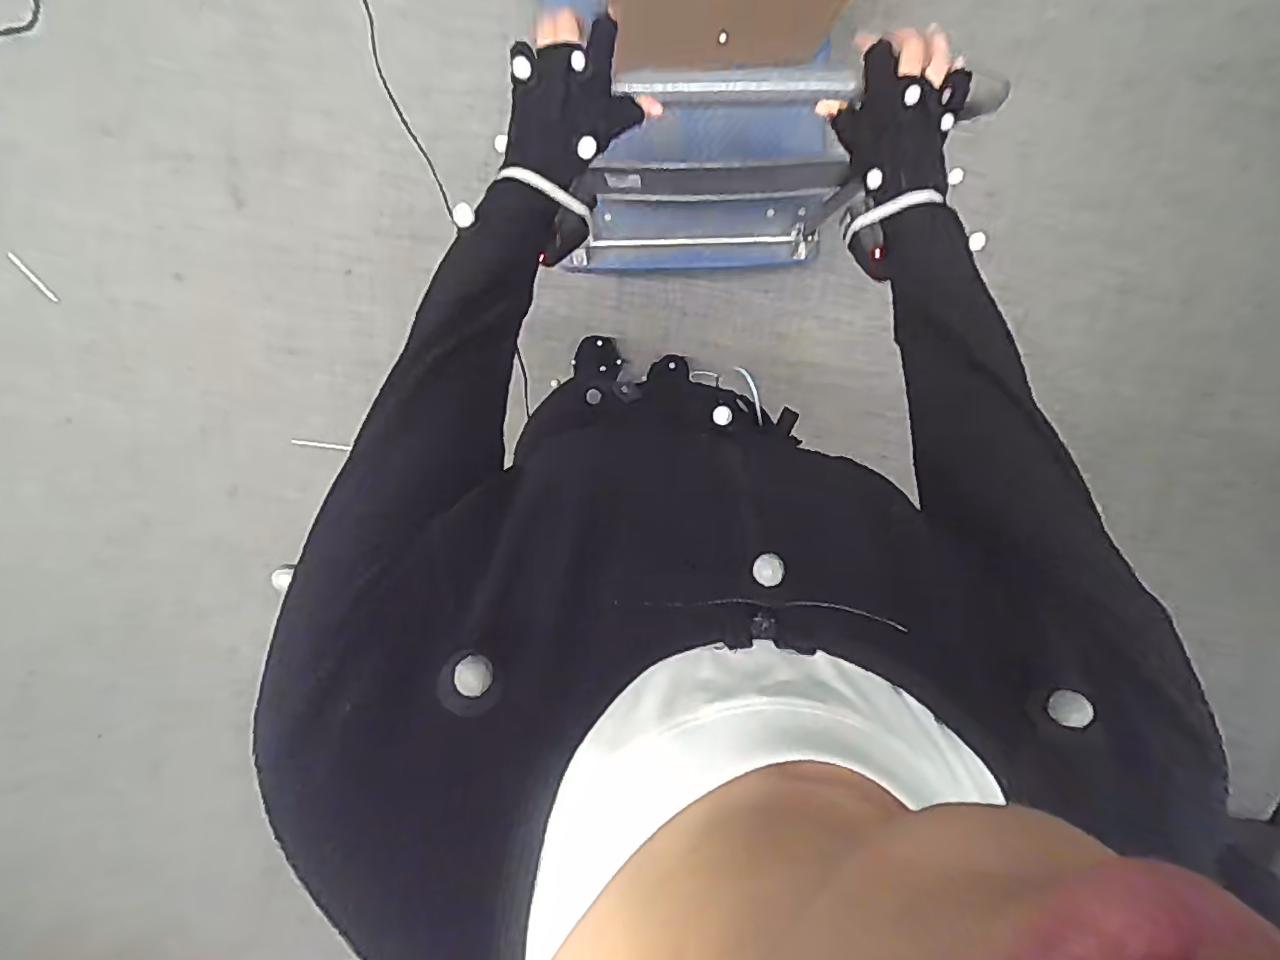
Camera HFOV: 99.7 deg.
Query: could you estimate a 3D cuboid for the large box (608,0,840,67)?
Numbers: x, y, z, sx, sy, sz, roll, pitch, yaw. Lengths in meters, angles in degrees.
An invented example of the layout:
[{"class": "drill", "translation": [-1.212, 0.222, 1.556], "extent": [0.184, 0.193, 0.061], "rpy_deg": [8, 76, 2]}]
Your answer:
[{"class": "large box", "translation": [0.138, -0.961, 0.919], "extent": [0.408, 0.320, 0.320], "rpy_deg": [-4, 104, 0]}]
